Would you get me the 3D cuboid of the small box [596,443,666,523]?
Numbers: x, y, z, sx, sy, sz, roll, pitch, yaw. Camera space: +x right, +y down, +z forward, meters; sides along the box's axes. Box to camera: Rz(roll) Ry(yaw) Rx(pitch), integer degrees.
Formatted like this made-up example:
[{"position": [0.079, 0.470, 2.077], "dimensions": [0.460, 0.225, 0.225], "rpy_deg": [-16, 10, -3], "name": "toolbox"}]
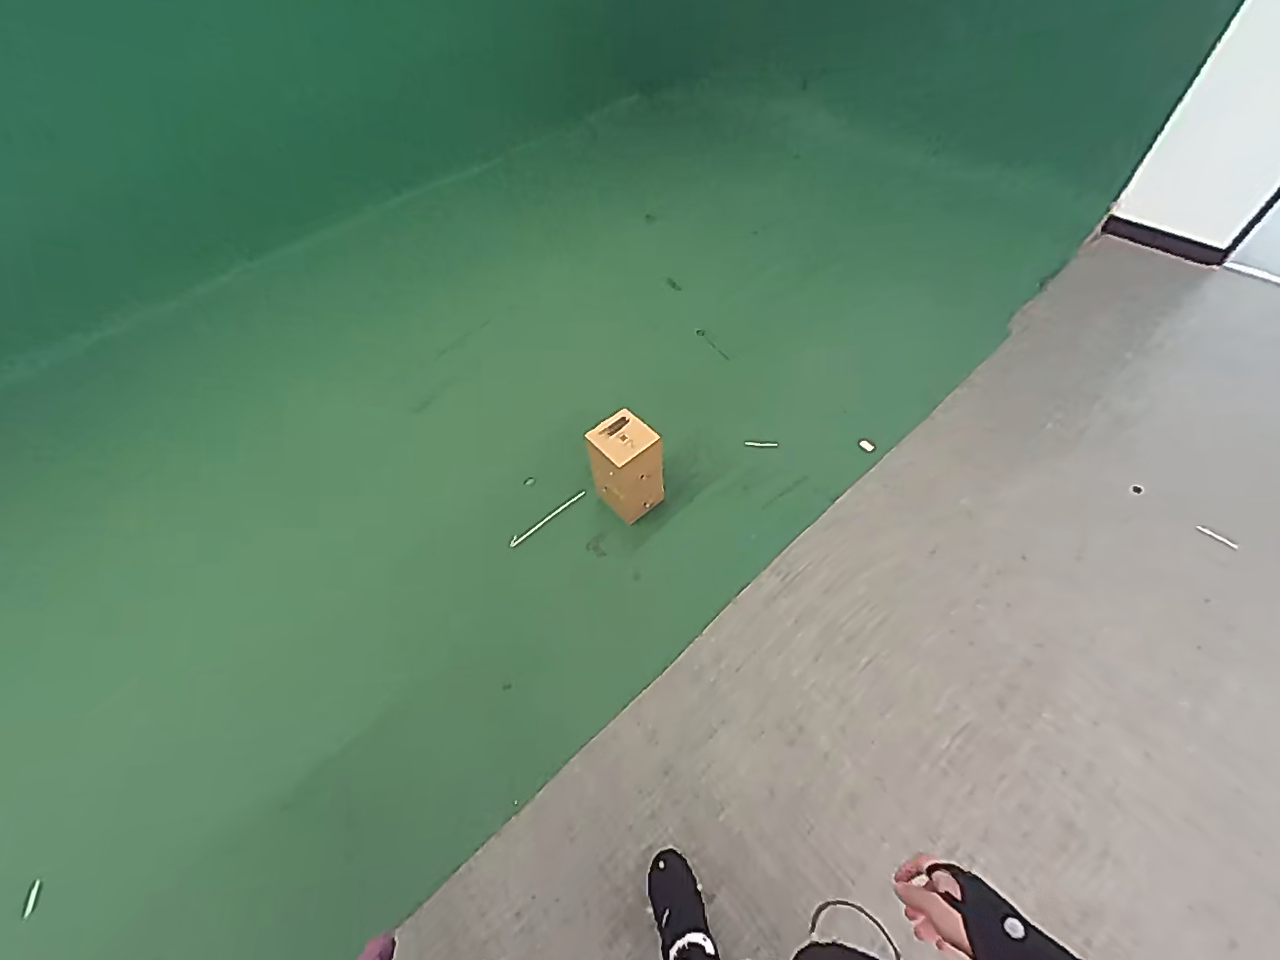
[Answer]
[{"position": [-0.027, 0.014, 1.845], "dimensions": [0.168, 0.176, 0.179], "rpy_deg": [-36, 60, -19], "name": "small box"}]
